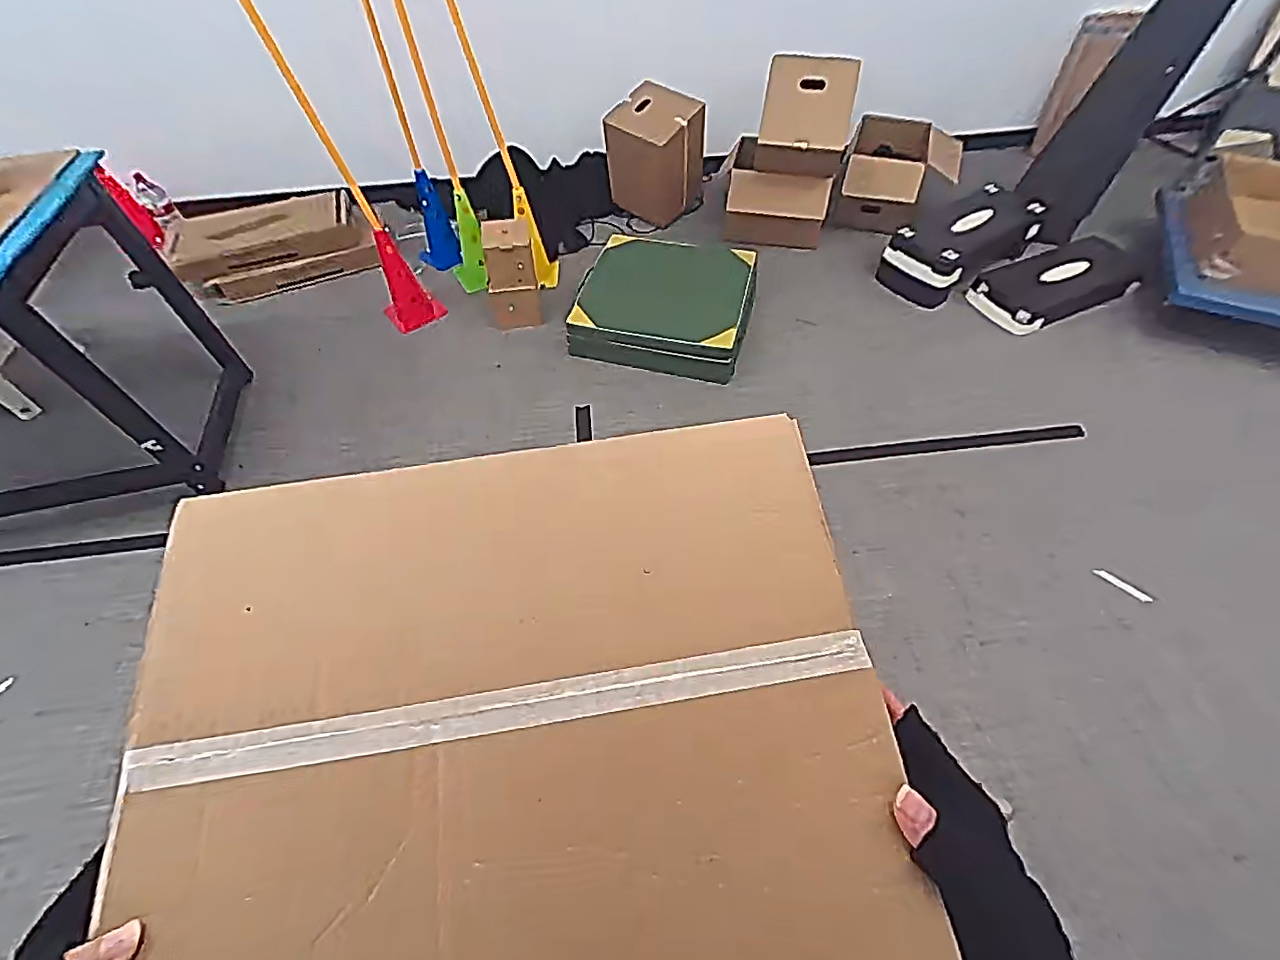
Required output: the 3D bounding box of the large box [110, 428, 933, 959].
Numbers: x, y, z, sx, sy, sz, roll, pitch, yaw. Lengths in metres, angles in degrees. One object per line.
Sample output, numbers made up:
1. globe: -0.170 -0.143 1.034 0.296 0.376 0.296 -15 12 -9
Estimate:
1. large box: -0.072 0.190 0.443 0.408 0.320 0.320 -9 66 -2
